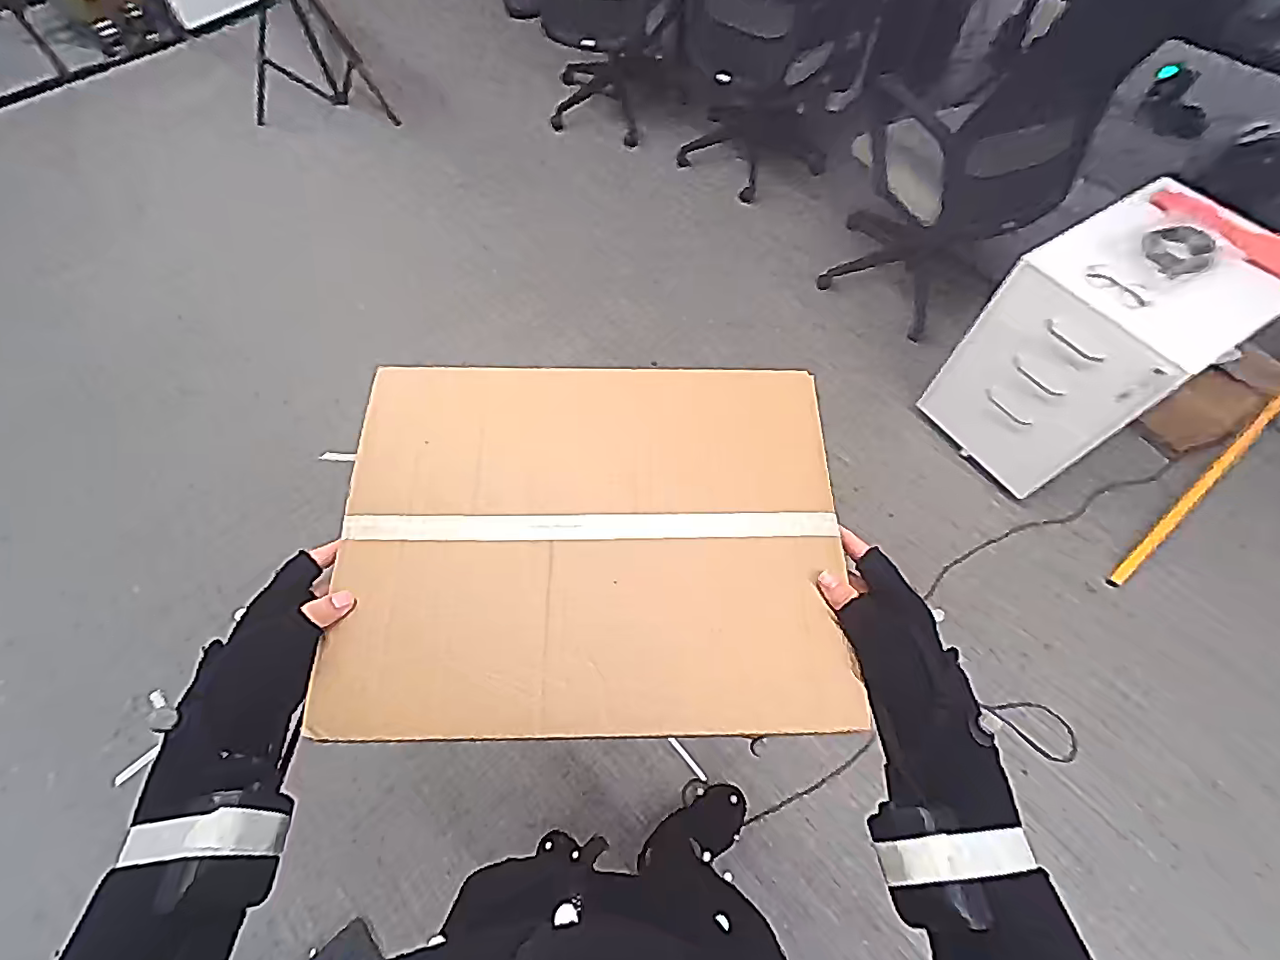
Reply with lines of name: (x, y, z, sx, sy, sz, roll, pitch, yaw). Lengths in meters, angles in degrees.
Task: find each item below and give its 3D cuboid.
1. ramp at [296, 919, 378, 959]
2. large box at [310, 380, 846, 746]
ramp: (-0.815, 1.322, 0.832, 0.991, 0.206, 0.509, -40, 68, -19)
large box: (-0.050, 0.104, 0.591, 0.408, 0.320, 0.320, 0, 66, -3)
